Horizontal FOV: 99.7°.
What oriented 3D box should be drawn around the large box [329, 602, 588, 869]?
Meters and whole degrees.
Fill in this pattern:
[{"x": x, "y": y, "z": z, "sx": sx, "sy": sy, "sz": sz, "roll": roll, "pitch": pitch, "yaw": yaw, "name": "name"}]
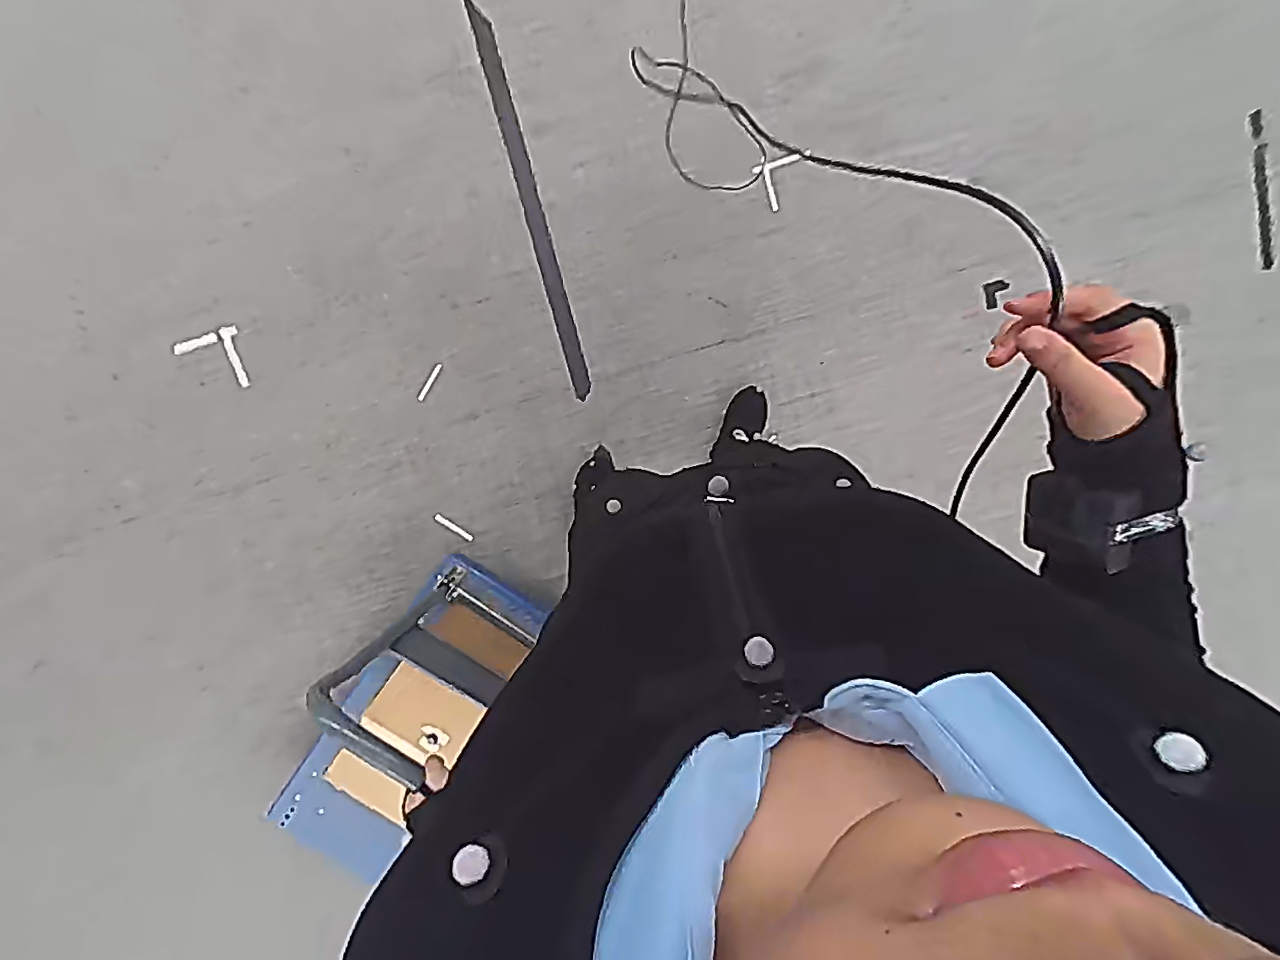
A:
[{"x": -0.373, "y": 0.548, "z": 1.223, "sx": 0.408, "sy": 0.320, "sz": 0.320, "roll": 35, "pitch": 94, "yaw": -4, "name": "large box"}]
